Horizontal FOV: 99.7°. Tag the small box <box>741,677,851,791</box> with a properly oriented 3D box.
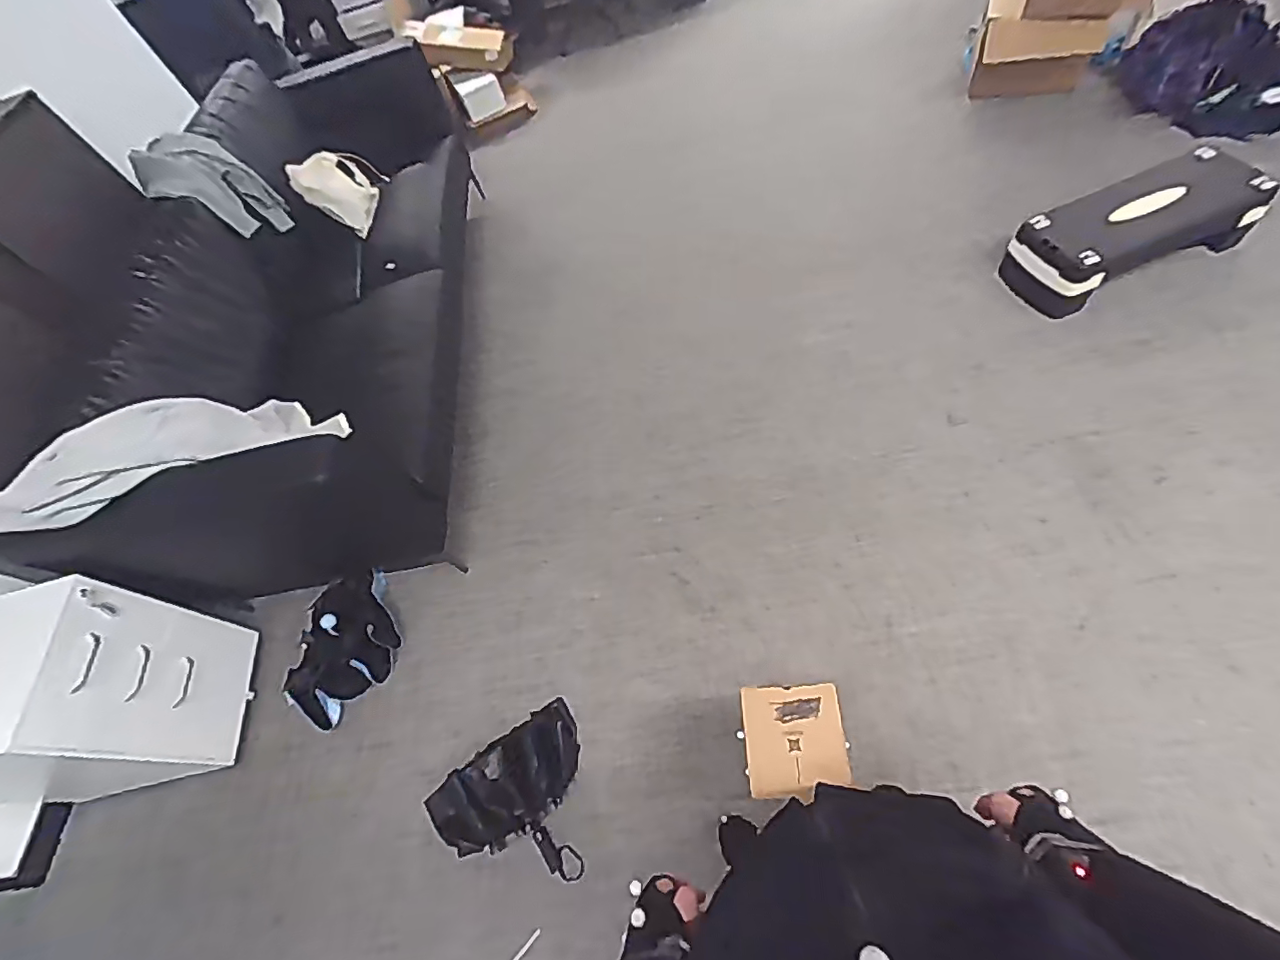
[{"bbox_3d":[0.275,0.468,0.990,0.168,0.176,0.179,-6,60,10],"label":"small box"}]
